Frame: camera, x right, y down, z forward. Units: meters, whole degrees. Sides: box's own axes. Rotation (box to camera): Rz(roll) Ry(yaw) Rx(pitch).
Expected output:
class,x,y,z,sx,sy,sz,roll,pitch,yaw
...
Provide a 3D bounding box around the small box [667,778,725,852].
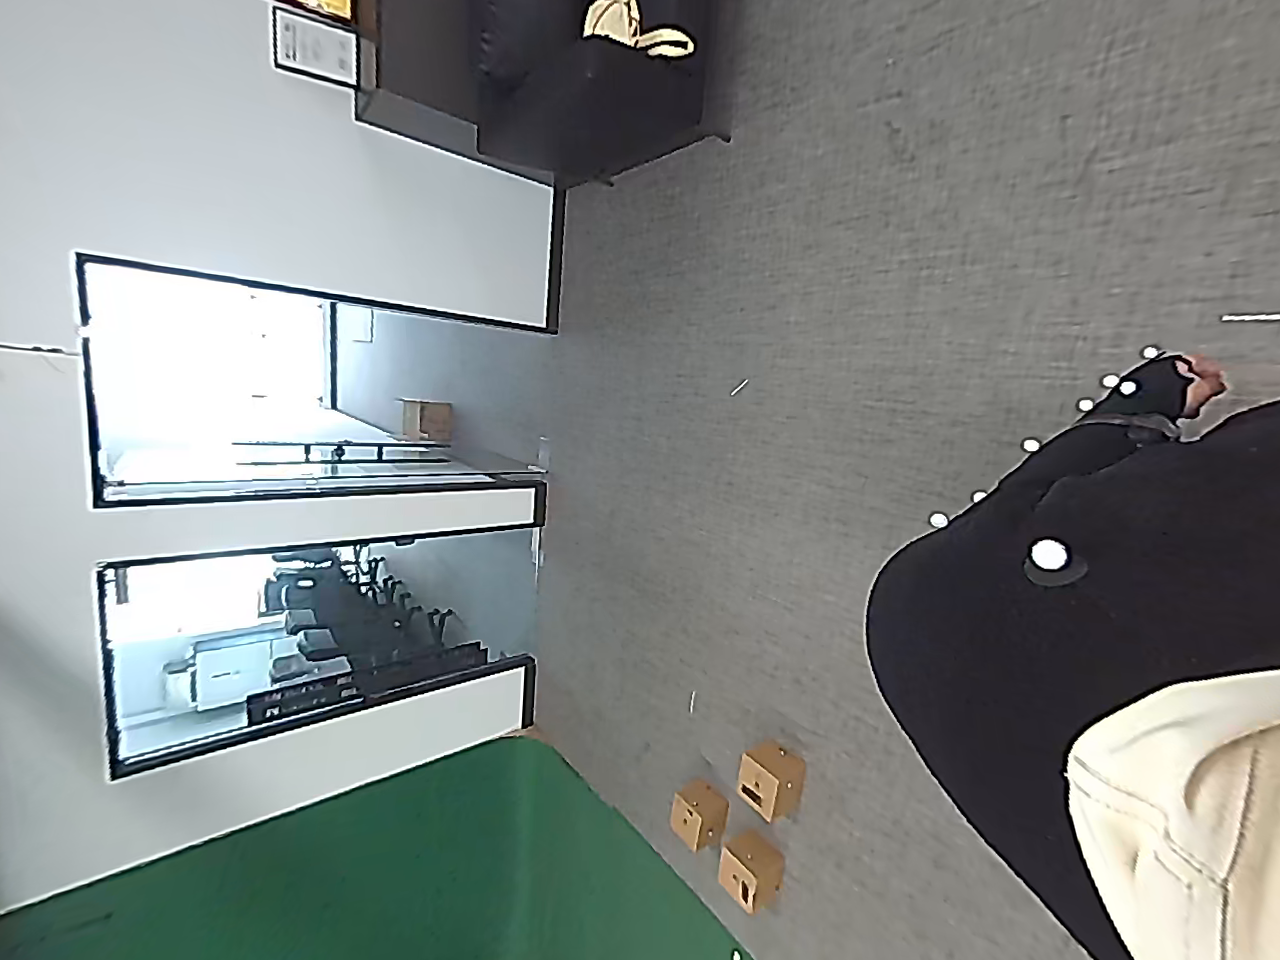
class,x,y,z,sx,sy,sz,roll,pitch,yaw
small box,0.240,1.422,2.303,0.168,0.176,0.179,21,109,49

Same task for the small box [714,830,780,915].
class,x,y,z,sx,sy,sz,roll,pitch,yaw
small box,0.416,1.504,2.088,0.179,0.176,0.168,19,106,49
